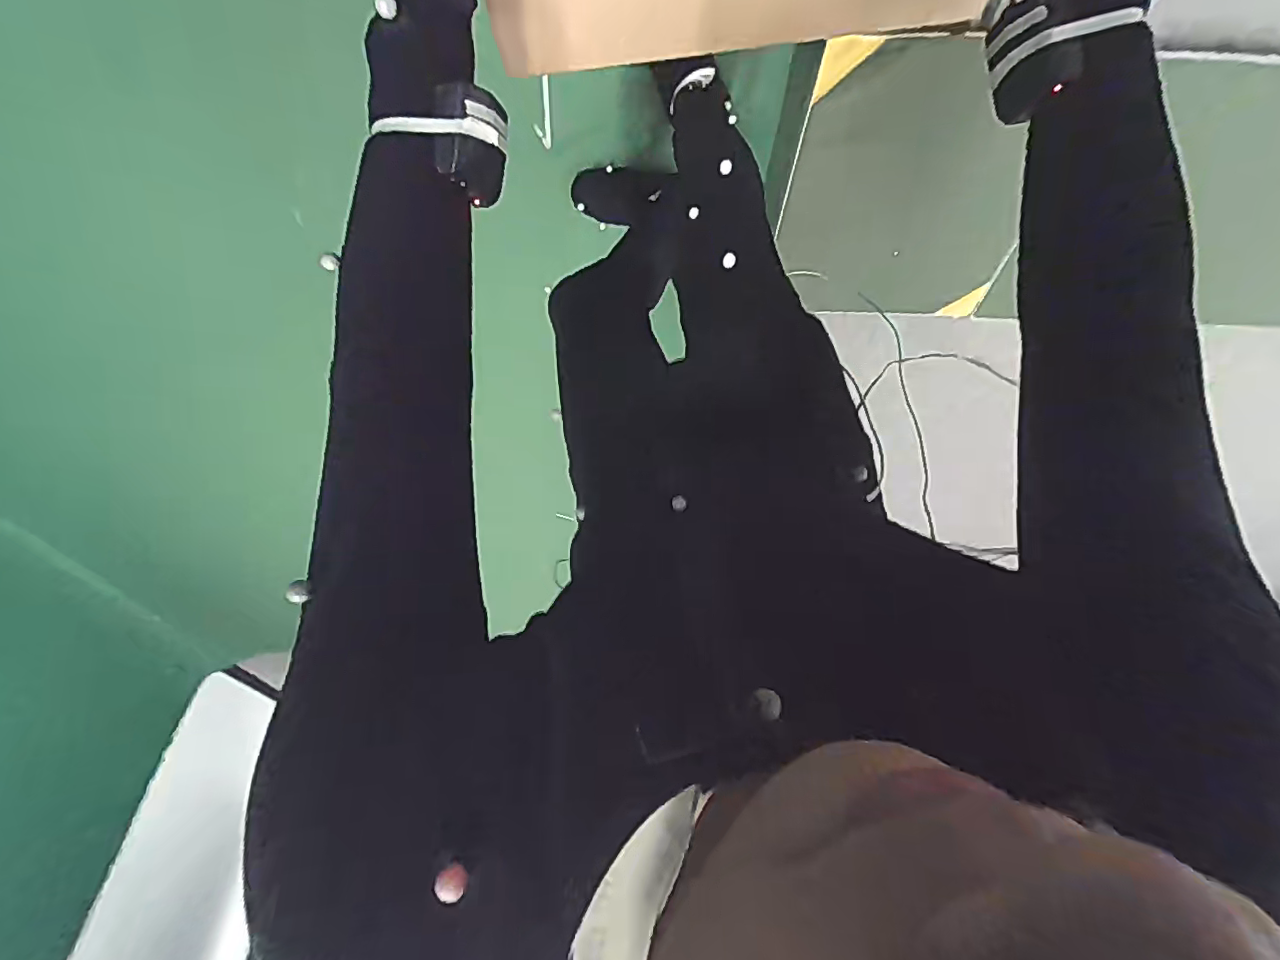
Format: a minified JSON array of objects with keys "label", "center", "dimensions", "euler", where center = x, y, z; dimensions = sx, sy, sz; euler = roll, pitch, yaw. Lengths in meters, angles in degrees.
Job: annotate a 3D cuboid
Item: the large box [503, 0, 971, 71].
[{"label":"large box","center":[0.065,-0.591,0.415],"dimensions":[0.408,0.320,0.320],"euler":[-4,152,4]}]
